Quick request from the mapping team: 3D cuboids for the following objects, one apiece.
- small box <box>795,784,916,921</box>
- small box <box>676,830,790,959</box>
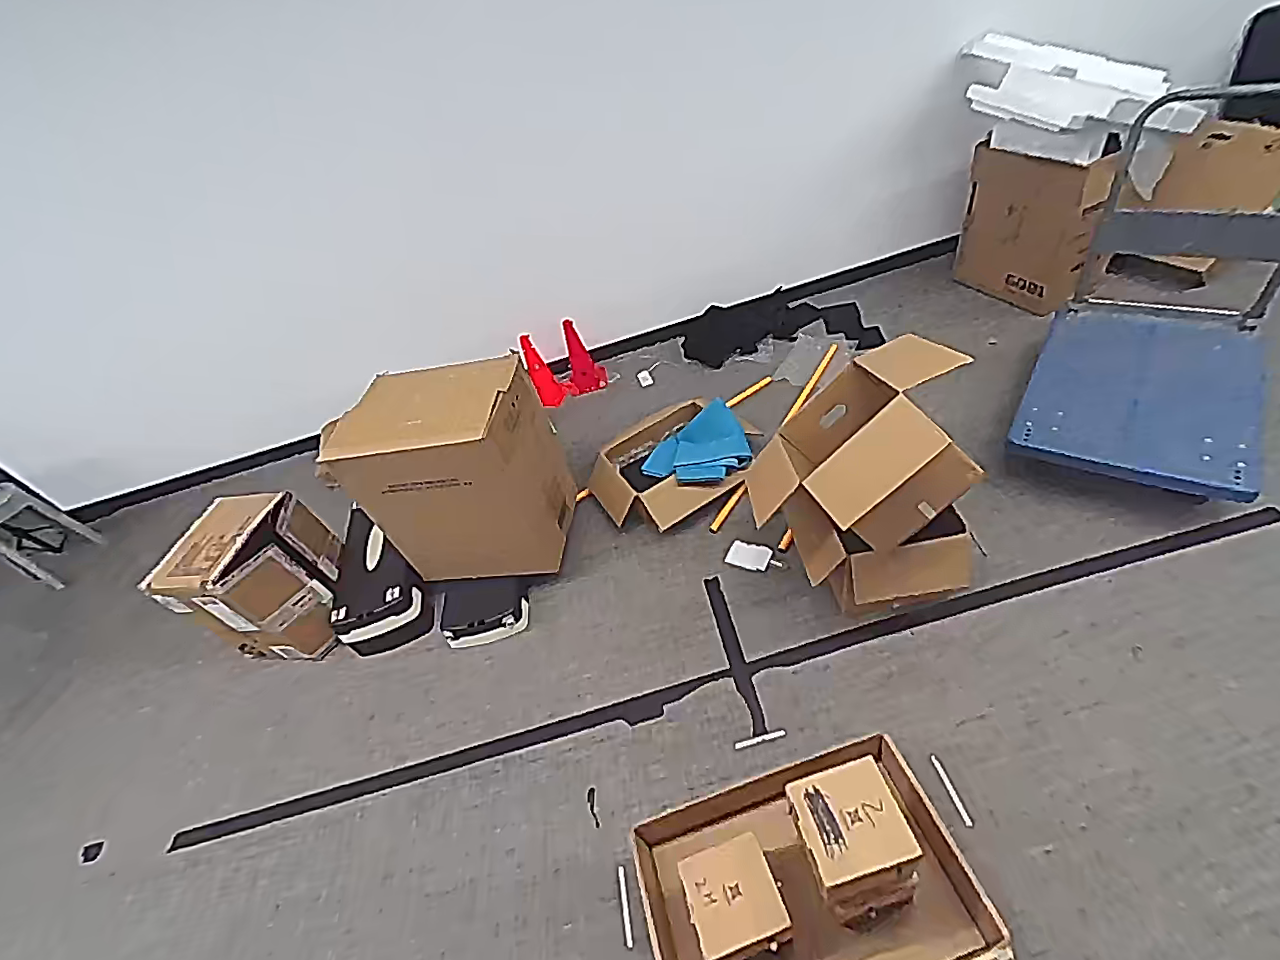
[{"bbox_3d":[0.435,0.768,1.114,0.168,0.176,0.179,-20,43,-1],"label":"small box"},{"bbox_3d":[0.190,0.854,1.104,0.179,0.176,0.168,-20,42,-4],"label":"small box"}]
